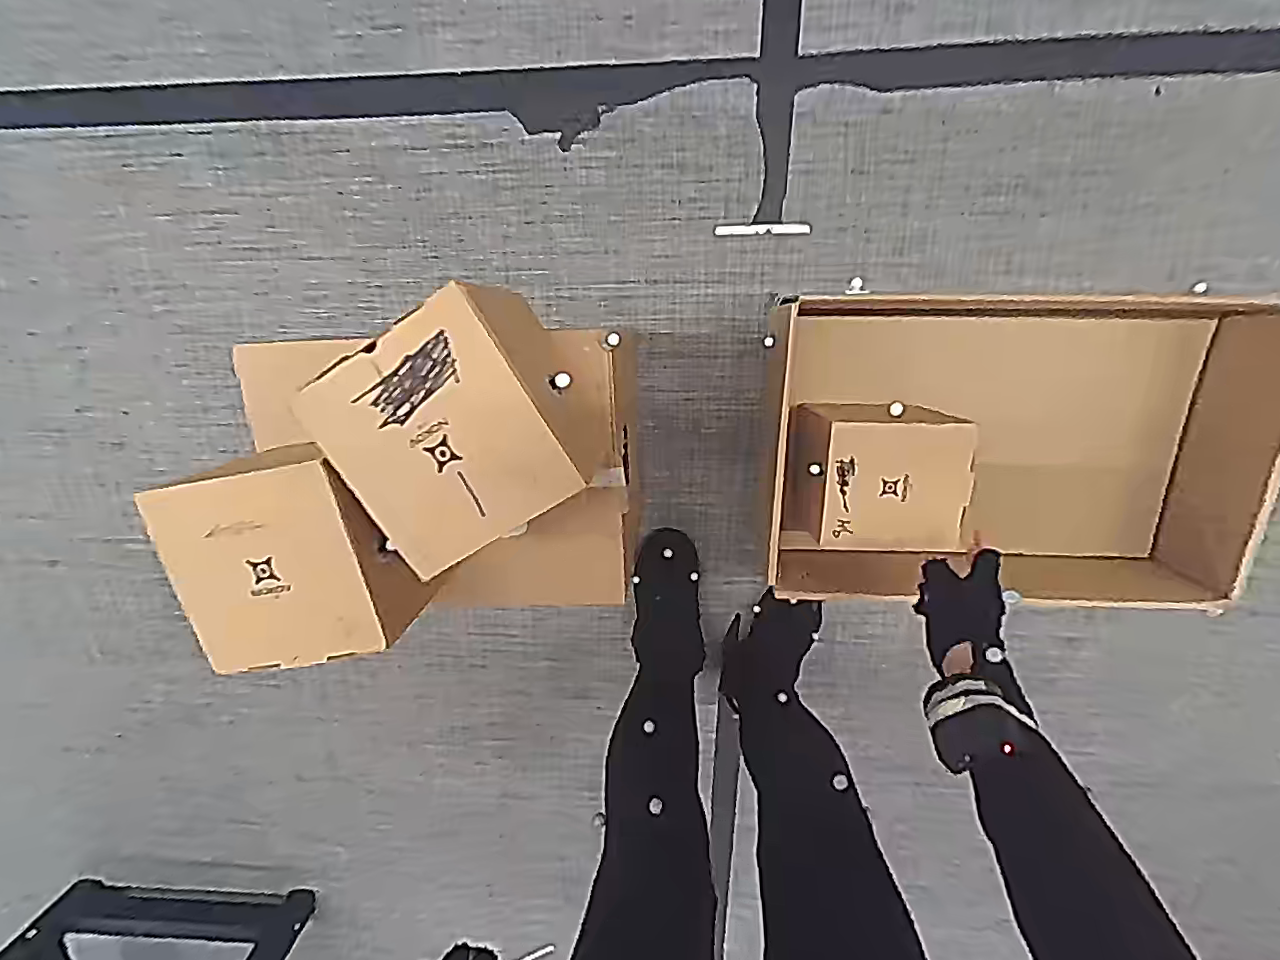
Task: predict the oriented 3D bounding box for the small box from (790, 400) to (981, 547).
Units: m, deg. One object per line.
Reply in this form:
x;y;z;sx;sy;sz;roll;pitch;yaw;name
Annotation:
0.317;-0.017;0.736;0.179;0.176;0.168;1;105;2;small box

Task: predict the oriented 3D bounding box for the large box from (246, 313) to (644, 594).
-0.208;-0.053;0.744;0.408;0.320;0.320;-2;107;4;large box

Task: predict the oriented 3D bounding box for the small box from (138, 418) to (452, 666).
-0.306;0.049;0.527;0.168;0.176;0.179;-10;105;5;small box
